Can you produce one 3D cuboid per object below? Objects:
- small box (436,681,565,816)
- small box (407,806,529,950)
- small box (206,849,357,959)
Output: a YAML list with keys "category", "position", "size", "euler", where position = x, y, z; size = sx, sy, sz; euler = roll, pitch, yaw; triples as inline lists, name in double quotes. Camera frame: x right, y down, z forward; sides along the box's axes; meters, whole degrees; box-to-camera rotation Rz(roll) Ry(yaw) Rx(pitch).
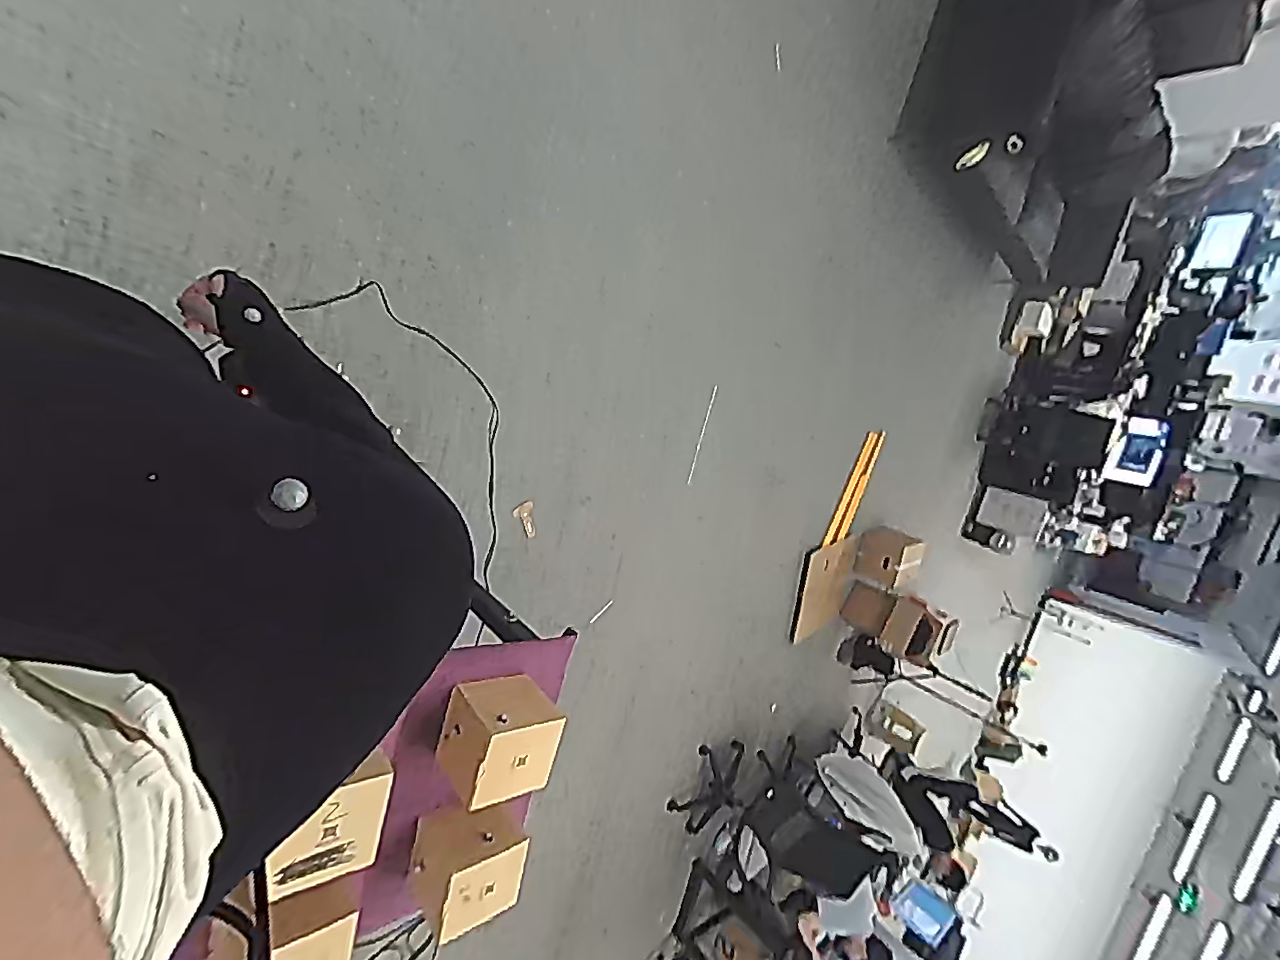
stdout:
- category: "small box"
  position: [-0.287, 0.533, 1.105]
  size: [0.179, 0.176, 0.168]
  euler: [9, 101, -44]
- category: "small box"
  position: [-0.364, 0.810, 1.141]
  size: [0.179, 0.176, 0.168]
  euler: [4, 102, -43]
- category: "small box"
  position: [-0.605, 0.777, 0.907]
  size: [0.179, 0.176, 0.168]
  euler: [6, 102, -45]
